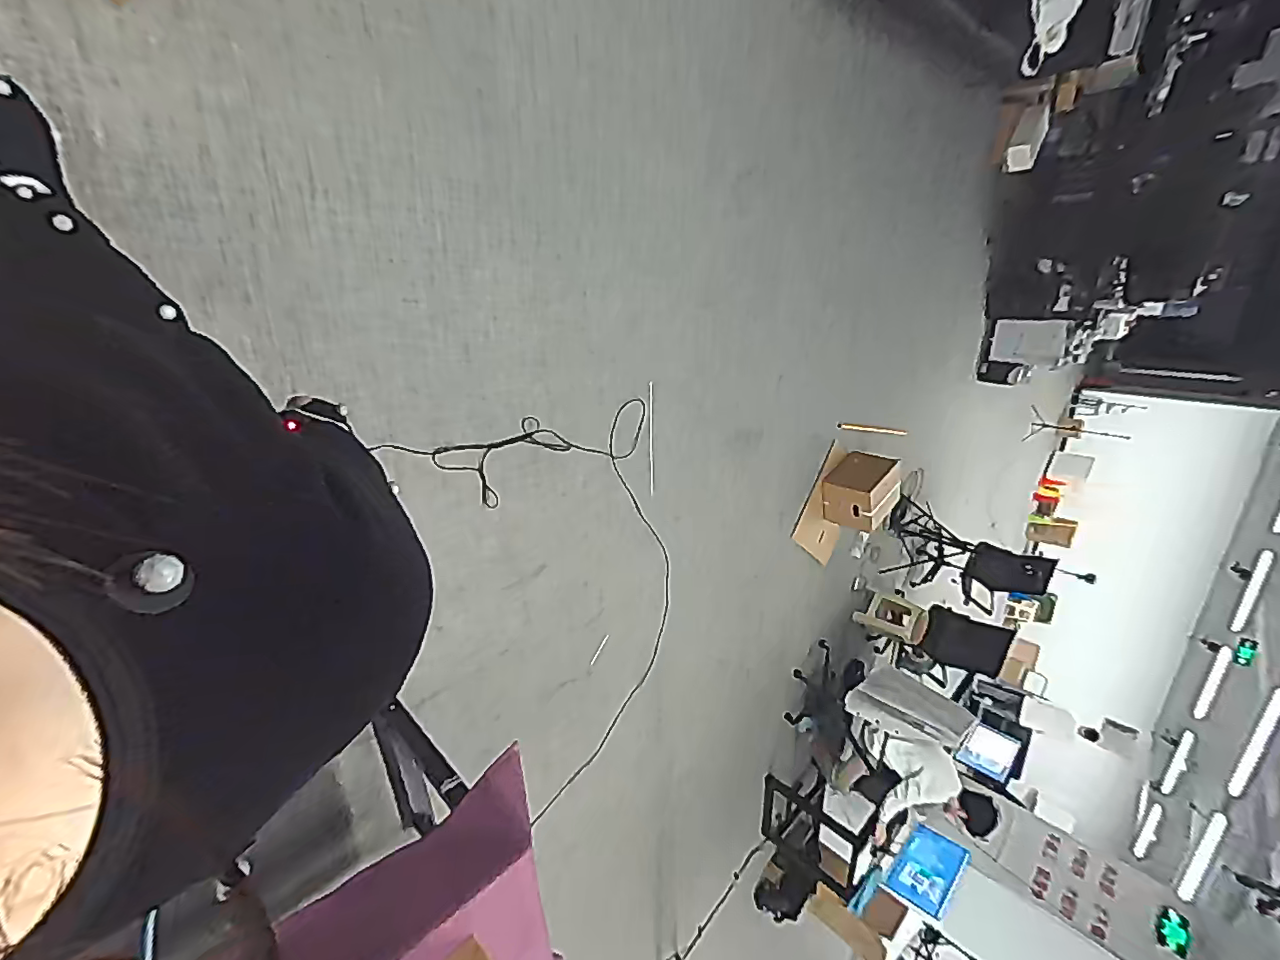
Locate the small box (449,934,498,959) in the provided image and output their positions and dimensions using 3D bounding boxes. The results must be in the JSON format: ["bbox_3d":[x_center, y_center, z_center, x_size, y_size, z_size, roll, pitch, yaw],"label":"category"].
[{"bbox_3d":[-0.341,1.062,1.060,0.179,0.176,0.168,-19,118,-39],"label":"small box"}]
